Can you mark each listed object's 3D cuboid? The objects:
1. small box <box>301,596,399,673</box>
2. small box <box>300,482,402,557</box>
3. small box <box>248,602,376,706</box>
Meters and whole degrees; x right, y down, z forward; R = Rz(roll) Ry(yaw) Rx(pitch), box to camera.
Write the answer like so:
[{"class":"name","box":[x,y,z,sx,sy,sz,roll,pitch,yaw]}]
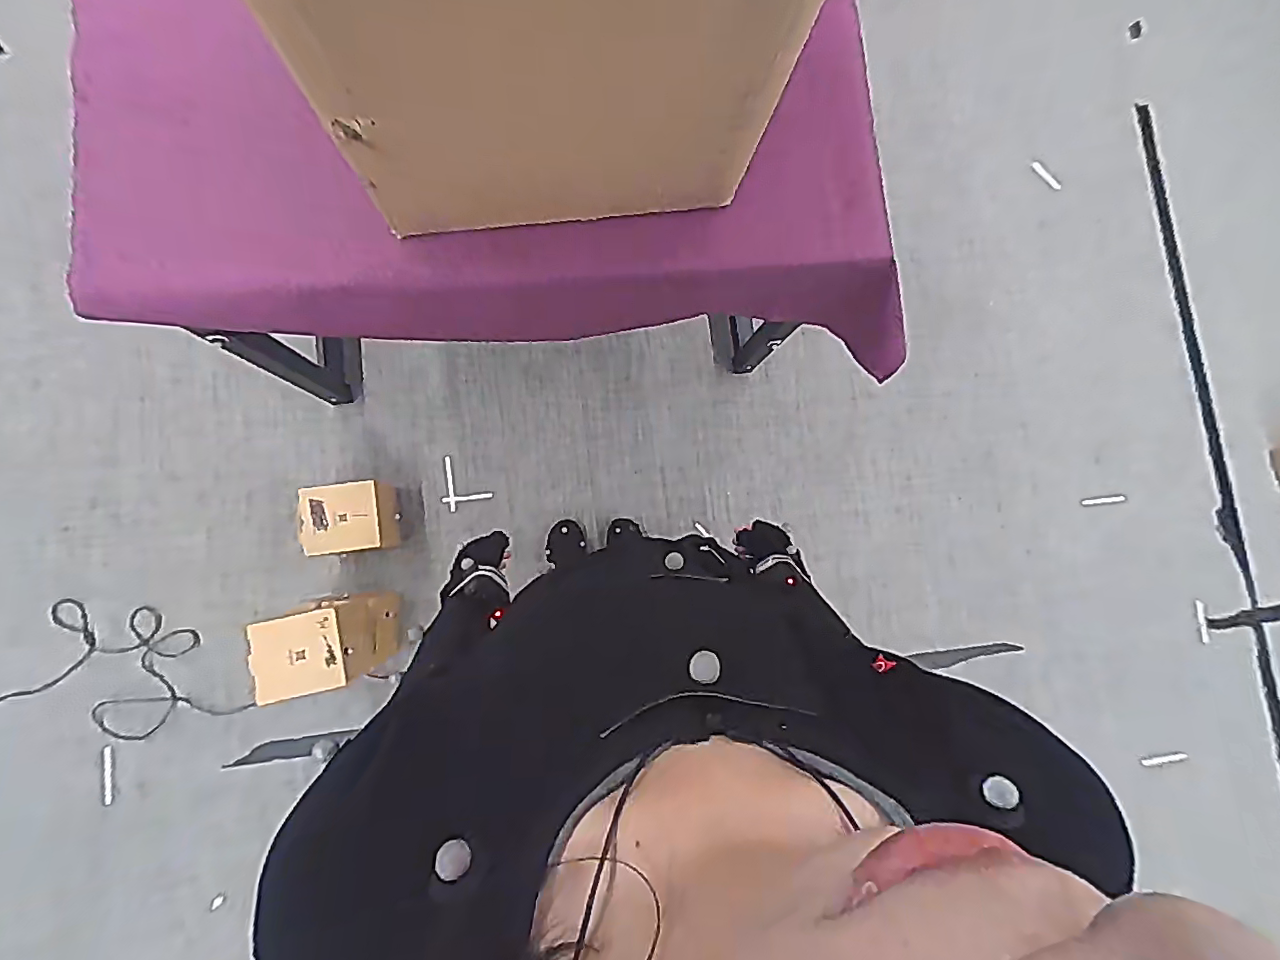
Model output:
[{"class":"small box","box":[-0.713,0.380,1.343,0.179,0.176,0.168,-1,83,-5]},{"class":"small box","box":[-0.724,0.103,1.367,0.179,0.176,0.168,-7,85,-8]},{"class":"small box","box":[-0.706,0.370,1.179,0.179,0.176,0.168,-11,84,-7]}]
